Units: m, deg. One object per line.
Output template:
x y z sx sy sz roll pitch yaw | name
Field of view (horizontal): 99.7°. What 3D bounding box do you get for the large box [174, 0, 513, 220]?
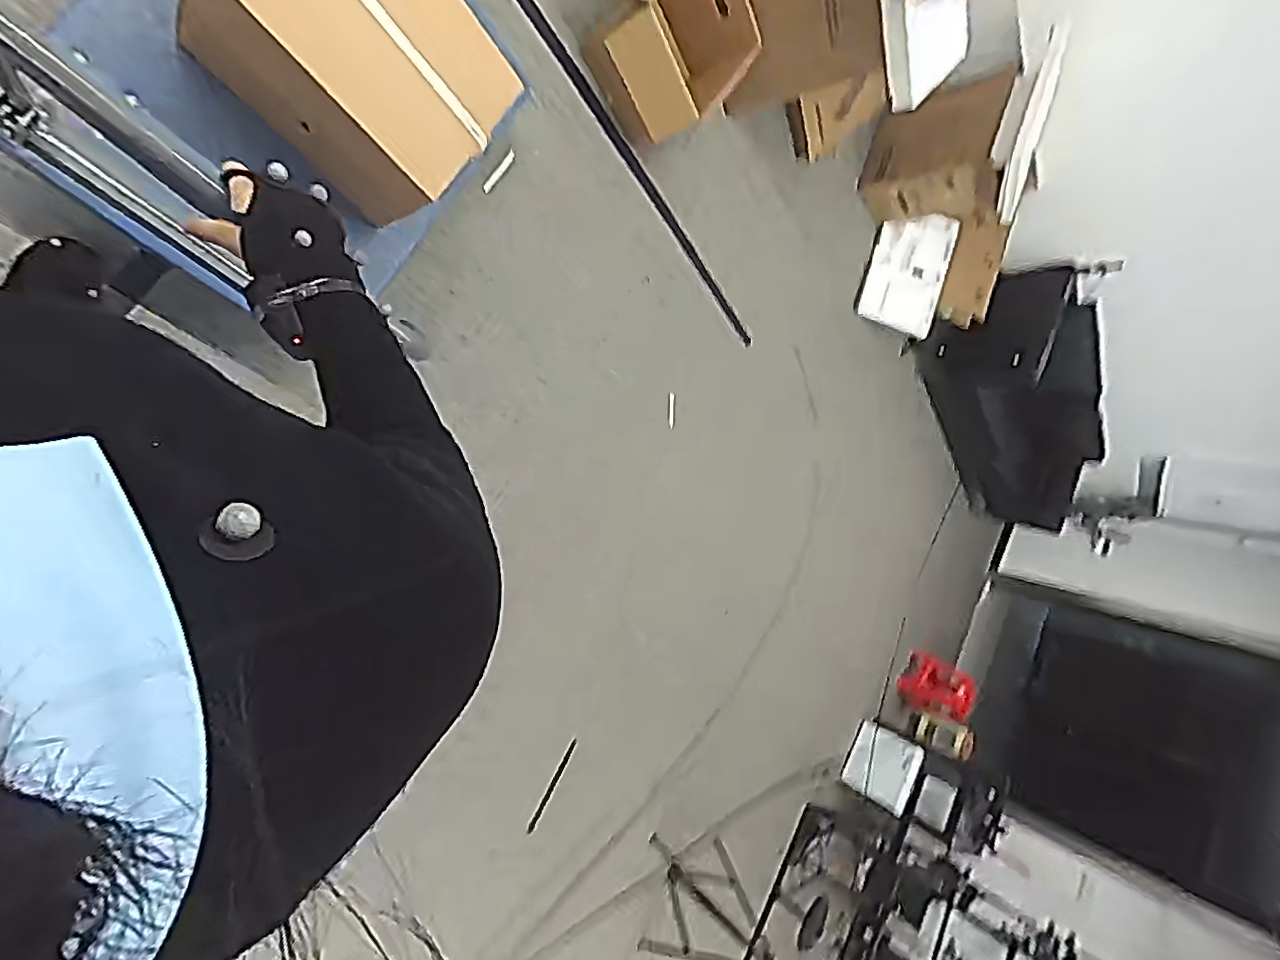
-0.526 -0.767 0.991 0.408 0.320 0.320 42 71 -40 | large box
